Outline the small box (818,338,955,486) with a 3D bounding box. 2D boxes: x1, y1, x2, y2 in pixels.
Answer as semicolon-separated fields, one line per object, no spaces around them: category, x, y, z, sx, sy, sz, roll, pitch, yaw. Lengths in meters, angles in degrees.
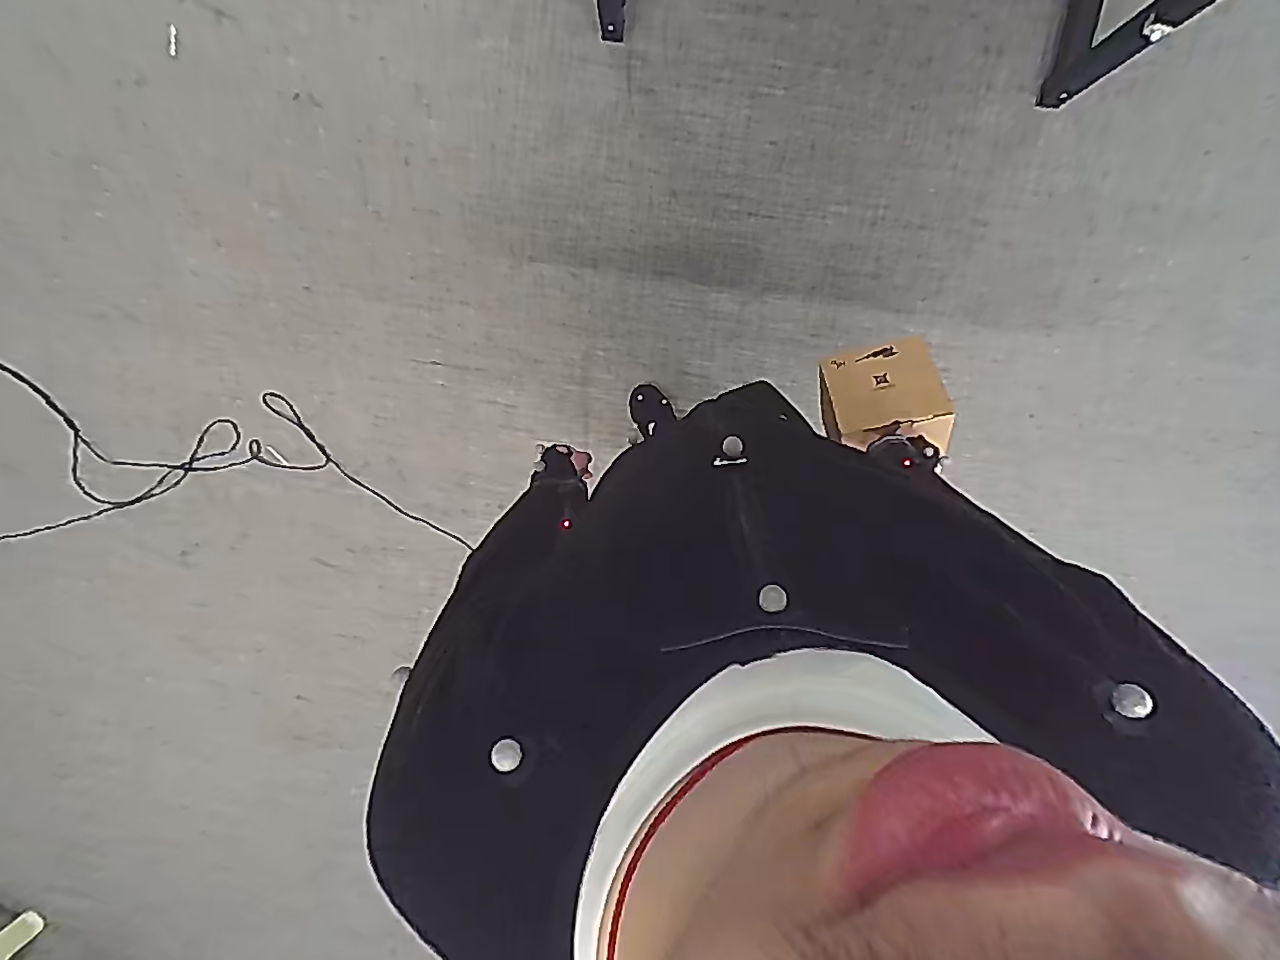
small box;0.417;-0.106;0.932;0.168;0.179;0.176;-14;143;14
